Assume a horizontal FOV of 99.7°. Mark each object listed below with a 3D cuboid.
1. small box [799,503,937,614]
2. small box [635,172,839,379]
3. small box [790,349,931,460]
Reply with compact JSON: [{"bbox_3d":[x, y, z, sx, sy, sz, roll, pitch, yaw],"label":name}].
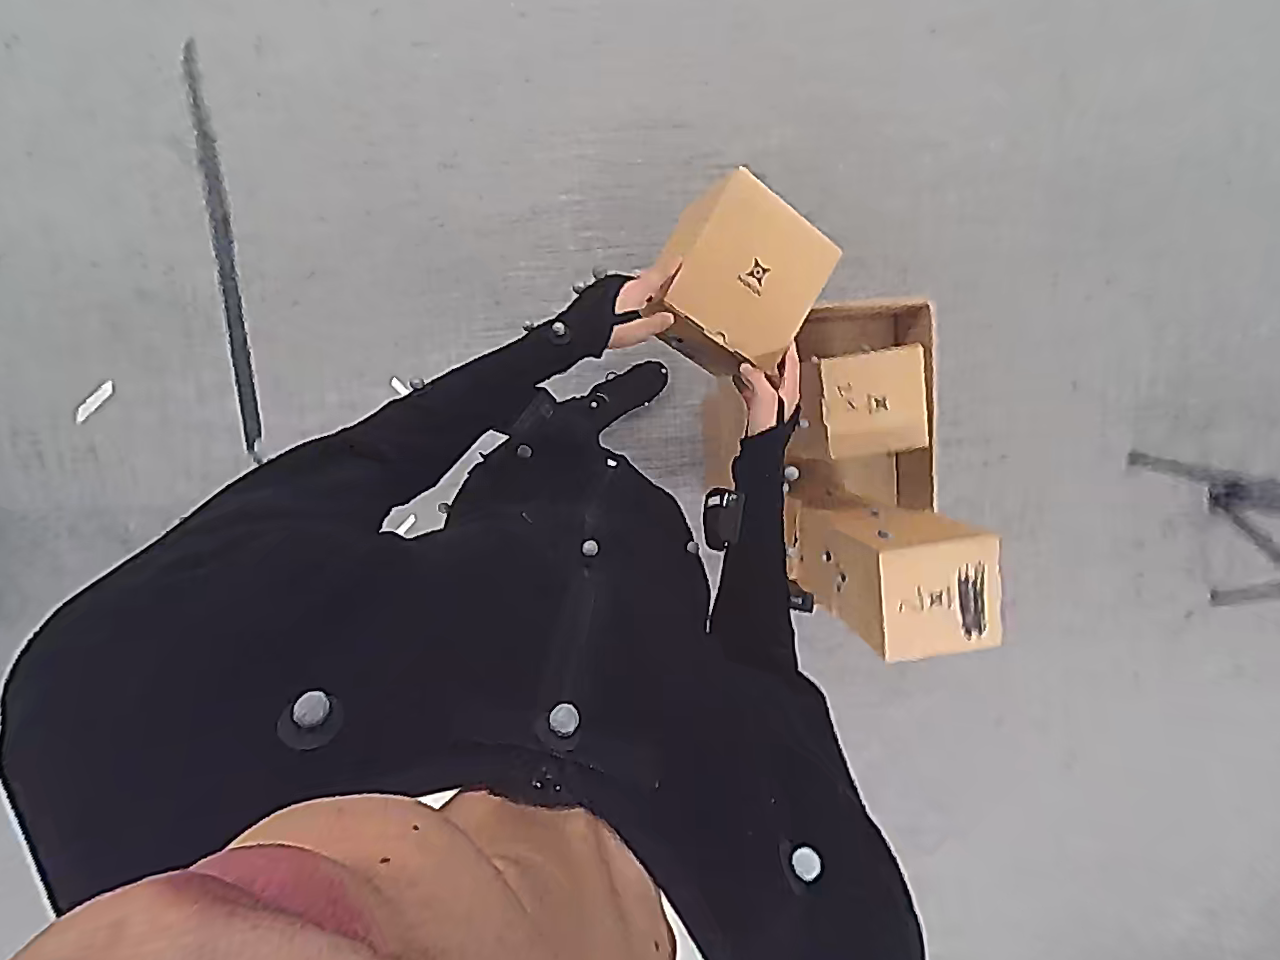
[{"bbox_3d":[0.414,0.138,1.004,0.179,0.176,0.168,-1,98,-5],"label":"small box"},{"bbox_3d":[0.112,-0.249,0.705,0.168,0.176,0.179,28,93,-19],"label":"small box"},{"bbox_3d":[0.387,-0.137,0.966,0.179,0.176,0.168,-9,99,-2],"label":"small box"}]
